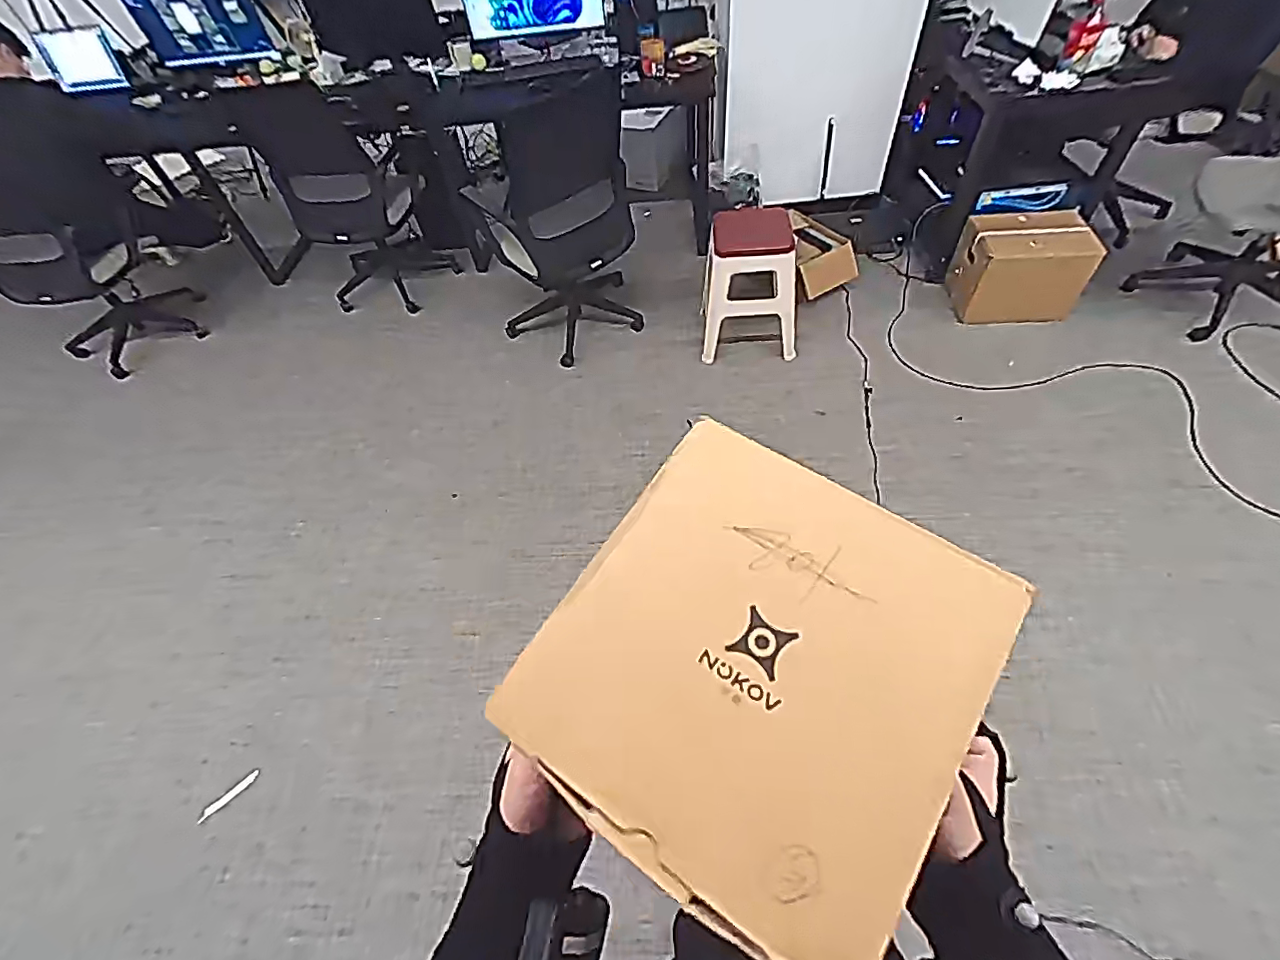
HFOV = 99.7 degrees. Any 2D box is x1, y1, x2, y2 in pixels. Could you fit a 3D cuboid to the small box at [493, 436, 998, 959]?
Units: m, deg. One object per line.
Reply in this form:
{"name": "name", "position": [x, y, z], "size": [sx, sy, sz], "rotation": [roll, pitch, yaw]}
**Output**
{"name": "small box", "position": [0.054, 0.114, 0.310], "size": [0.168, 0.176, 0.179], "rotation": [29, 69, 17]}
